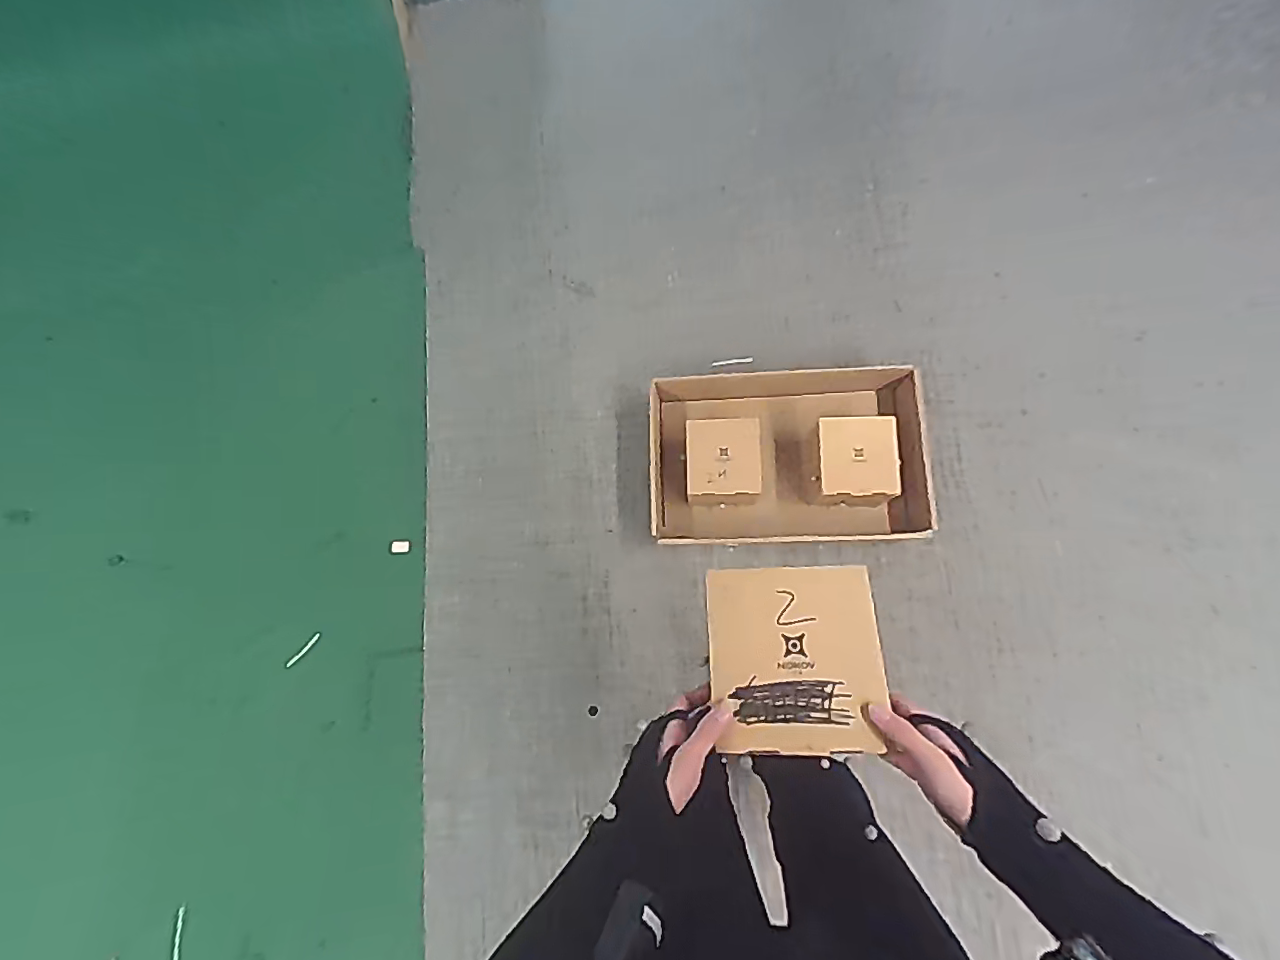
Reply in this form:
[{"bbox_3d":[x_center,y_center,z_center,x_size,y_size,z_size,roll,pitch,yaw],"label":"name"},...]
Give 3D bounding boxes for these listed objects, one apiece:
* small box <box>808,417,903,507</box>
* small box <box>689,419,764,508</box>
[{"bbox_3d":[0.489,-0.036,1.250,0.168,0.176,0.179,-1,79,7],"label":"small box"},{"bbox_3d":[0.199,-0.034,1.284,0.168,0.176,0.179,-1,78,7],"label":"small box"}]
